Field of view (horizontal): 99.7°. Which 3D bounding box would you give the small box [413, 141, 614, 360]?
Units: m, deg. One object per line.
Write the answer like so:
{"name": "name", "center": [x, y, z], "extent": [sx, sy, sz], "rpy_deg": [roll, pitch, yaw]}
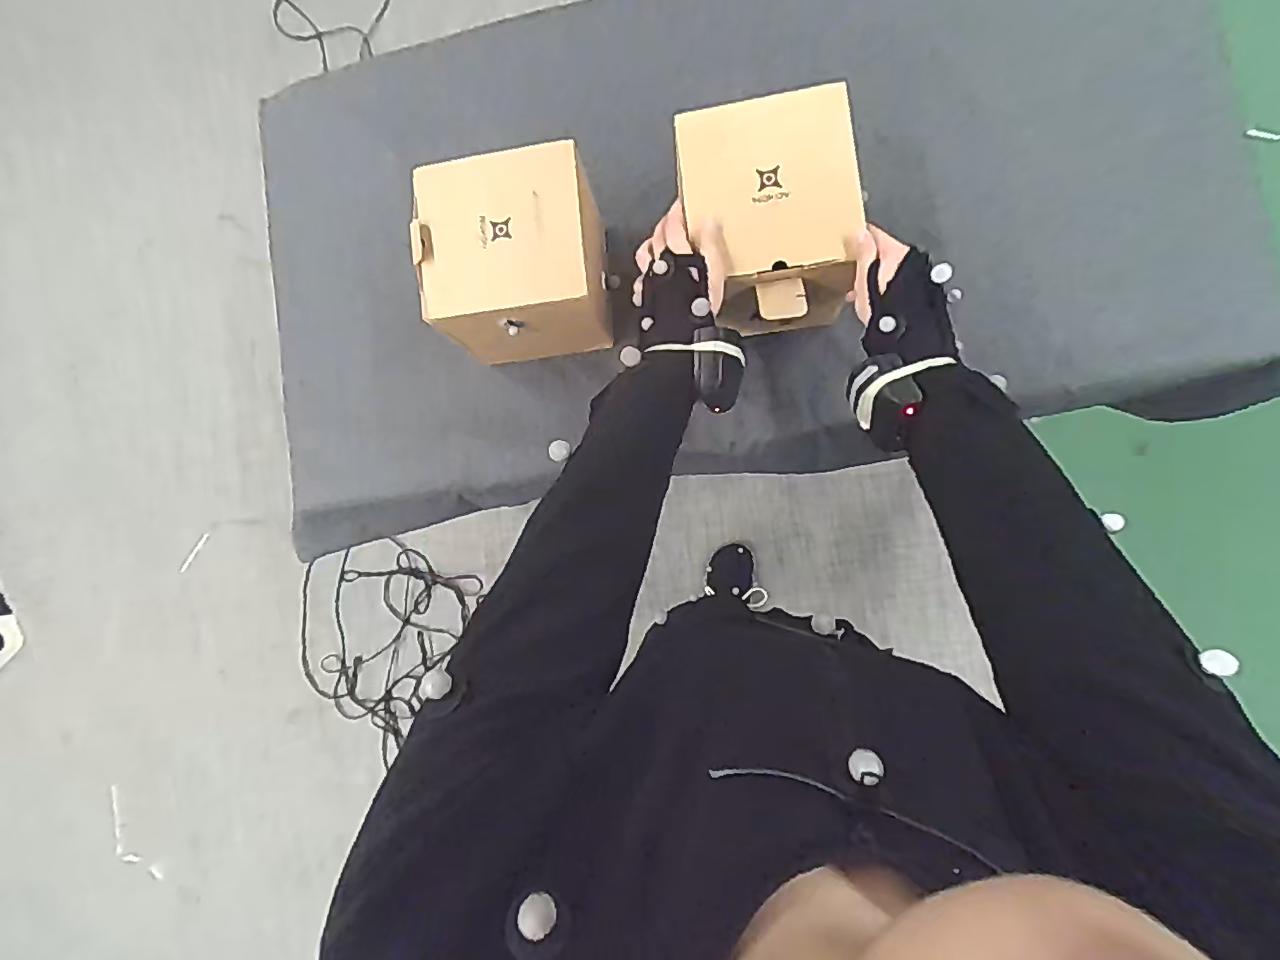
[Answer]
{"name": "small box", "center": [-0.134, -0.246, 0.623], "extent": [0.179, 0.176, 0.168], "rpy_deg": [-5, 86, 6]}
